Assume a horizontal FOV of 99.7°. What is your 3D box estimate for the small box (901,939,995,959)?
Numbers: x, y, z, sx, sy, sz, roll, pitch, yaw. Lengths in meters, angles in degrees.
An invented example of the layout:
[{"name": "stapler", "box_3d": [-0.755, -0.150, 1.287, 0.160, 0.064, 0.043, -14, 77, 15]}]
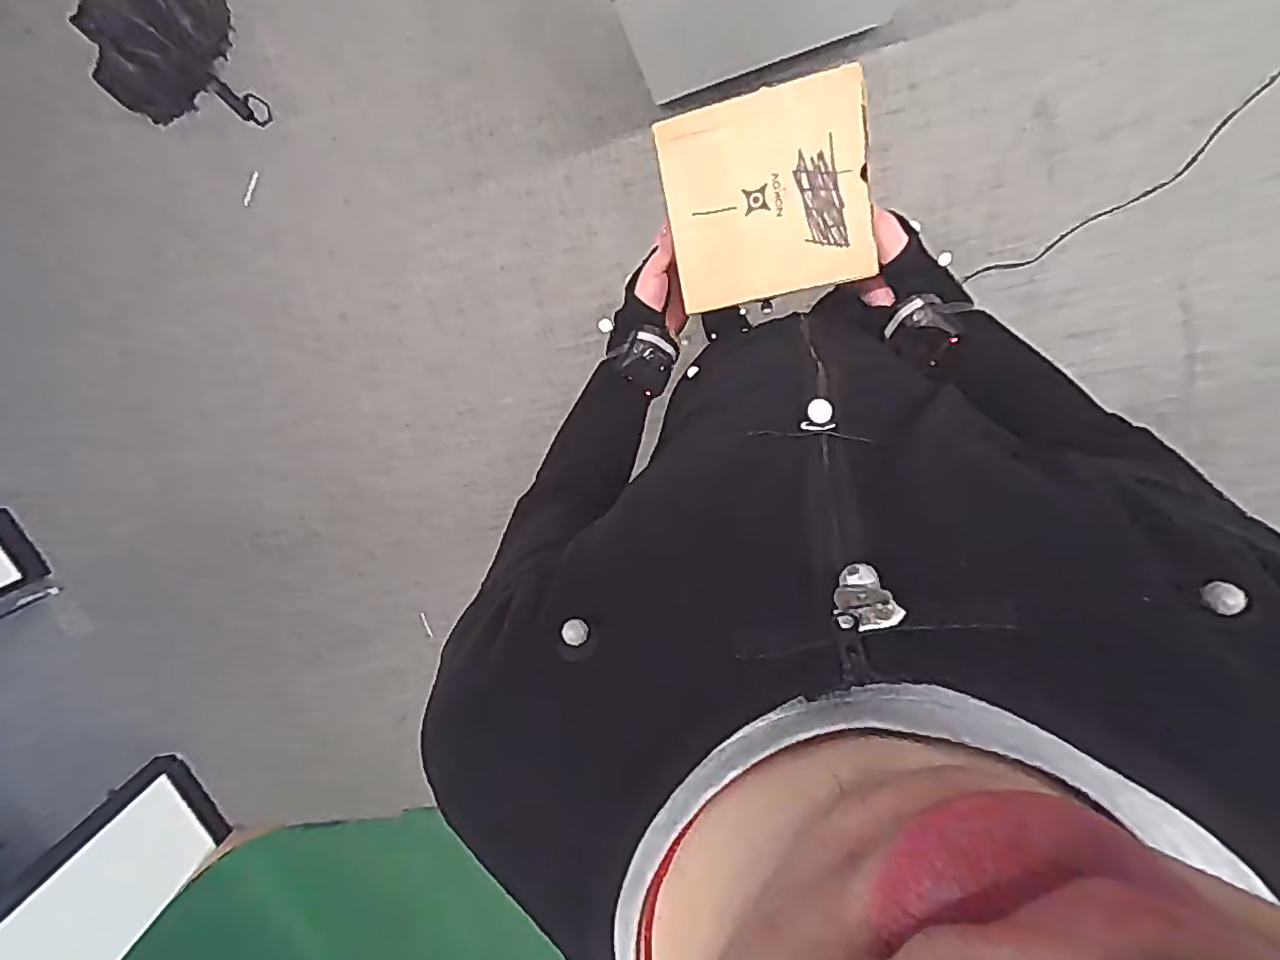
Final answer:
[{"name": "small box", "box_3d": [0.645, 1.070, 1.089, 0.179, 0.176, 0.168, -6, 110, 10]}]
